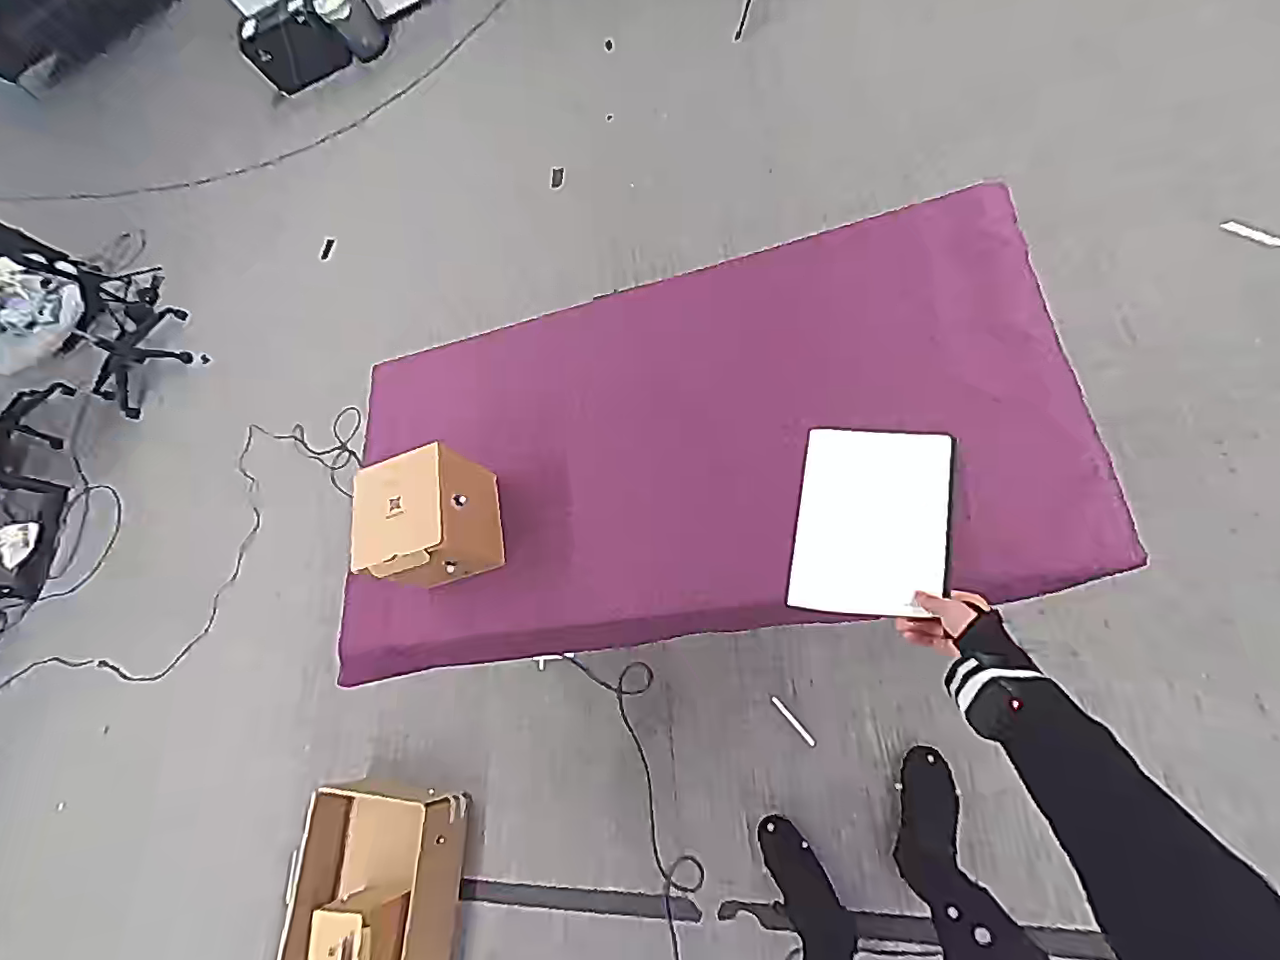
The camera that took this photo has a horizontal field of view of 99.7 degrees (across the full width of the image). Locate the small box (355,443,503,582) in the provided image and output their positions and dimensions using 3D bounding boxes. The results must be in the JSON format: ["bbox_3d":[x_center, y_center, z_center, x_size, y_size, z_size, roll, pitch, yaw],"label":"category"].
[{"bbox_3d":[-0.346,0.067,0.907,0.168,0.176,0.179,-17,66,14],"label":"small box"}]
